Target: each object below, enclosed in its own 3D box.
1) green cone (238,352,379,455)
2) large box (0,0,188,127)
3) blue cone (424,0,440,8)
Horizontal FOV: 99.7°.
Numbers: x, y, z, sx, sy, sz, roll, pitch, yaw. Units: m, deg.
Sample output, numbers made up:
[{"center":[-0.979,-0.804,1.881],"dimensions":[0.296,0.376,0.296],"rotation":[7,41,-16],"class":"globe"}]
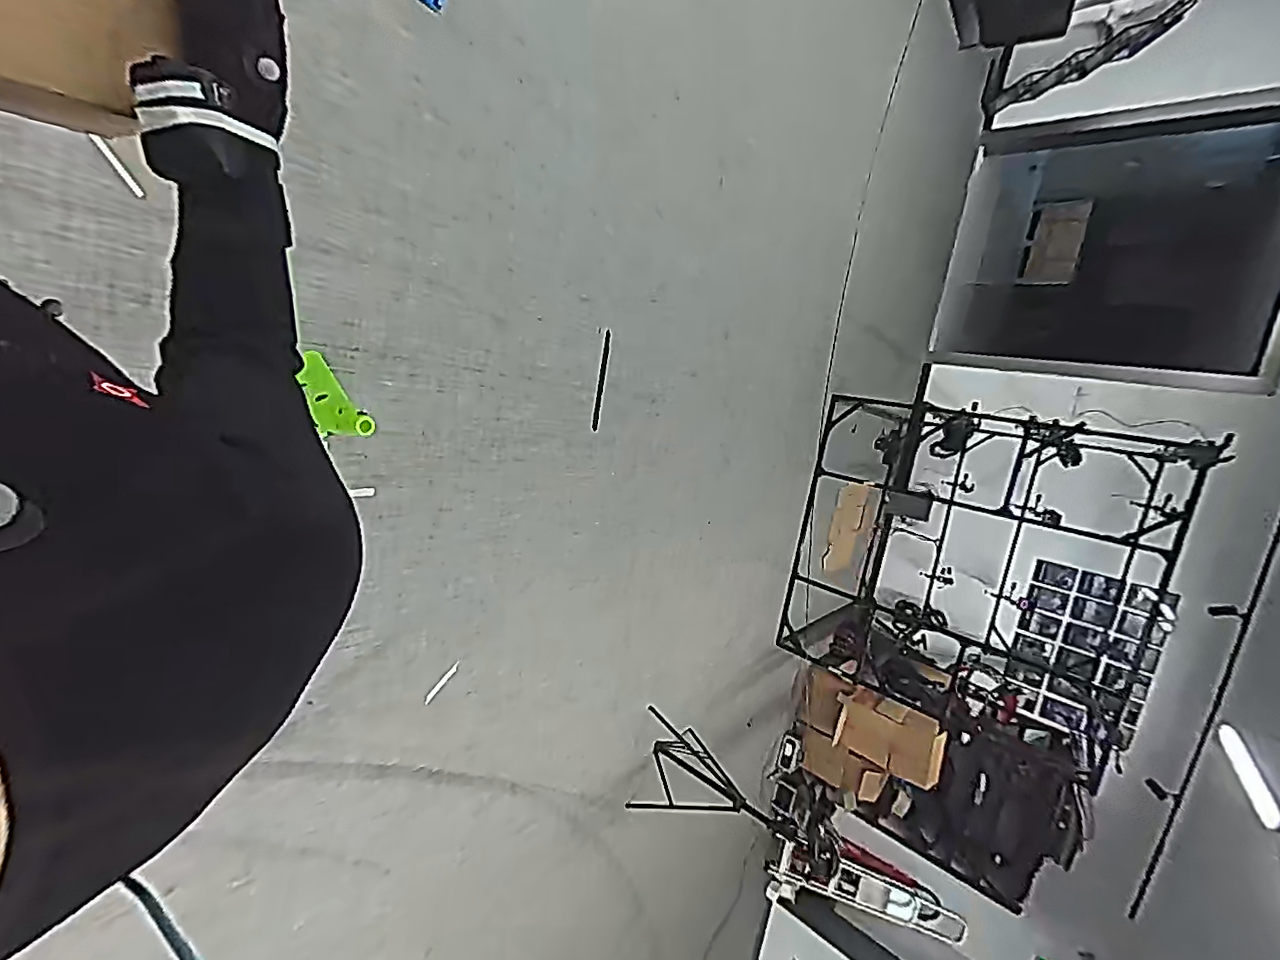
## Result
[{"center":[-0.706,-0.149,1.230],"dimensions":[0.202,0.368,0.200],"rotation":[-46,136,-33],"class":"green cone"},{"center":[-0.541,-0.432,0.282],"dimensions":[0.408,0.320,0.320],"rotation":[-11,119,-51],"class":"large box"},{"center":[-0.423,-1.245,1.192],"dimensions":[0.192,0.380,0.193],"rotation":[4,100,-53],"class":"blue cone"}]
